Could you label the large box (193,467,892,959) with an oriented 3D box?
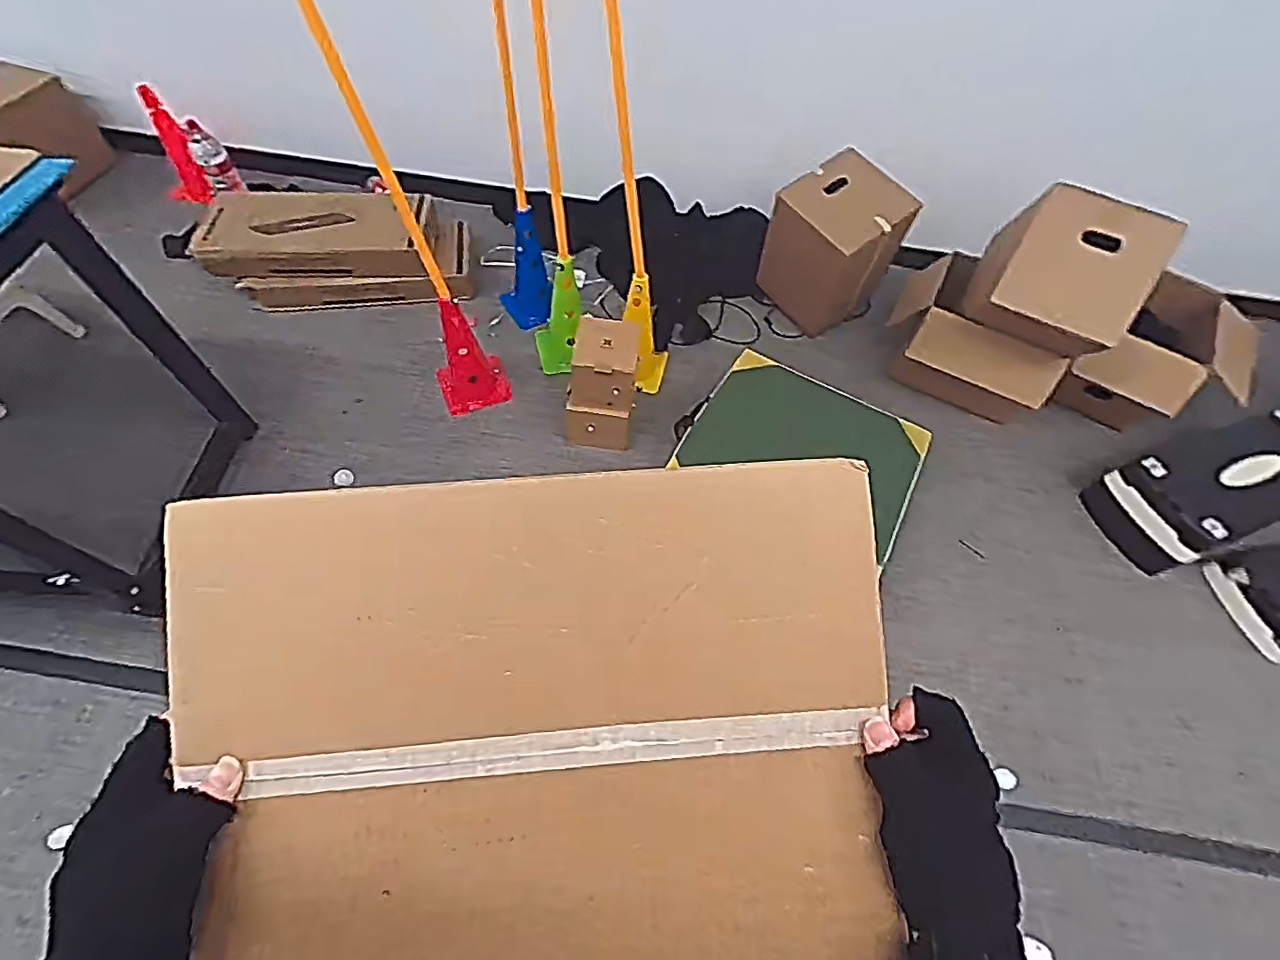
[{"bbox_3d":[-0.063,0.166,0.470,0.408,0.320,0.320,-4,89,-2],"label":"large box"}]
